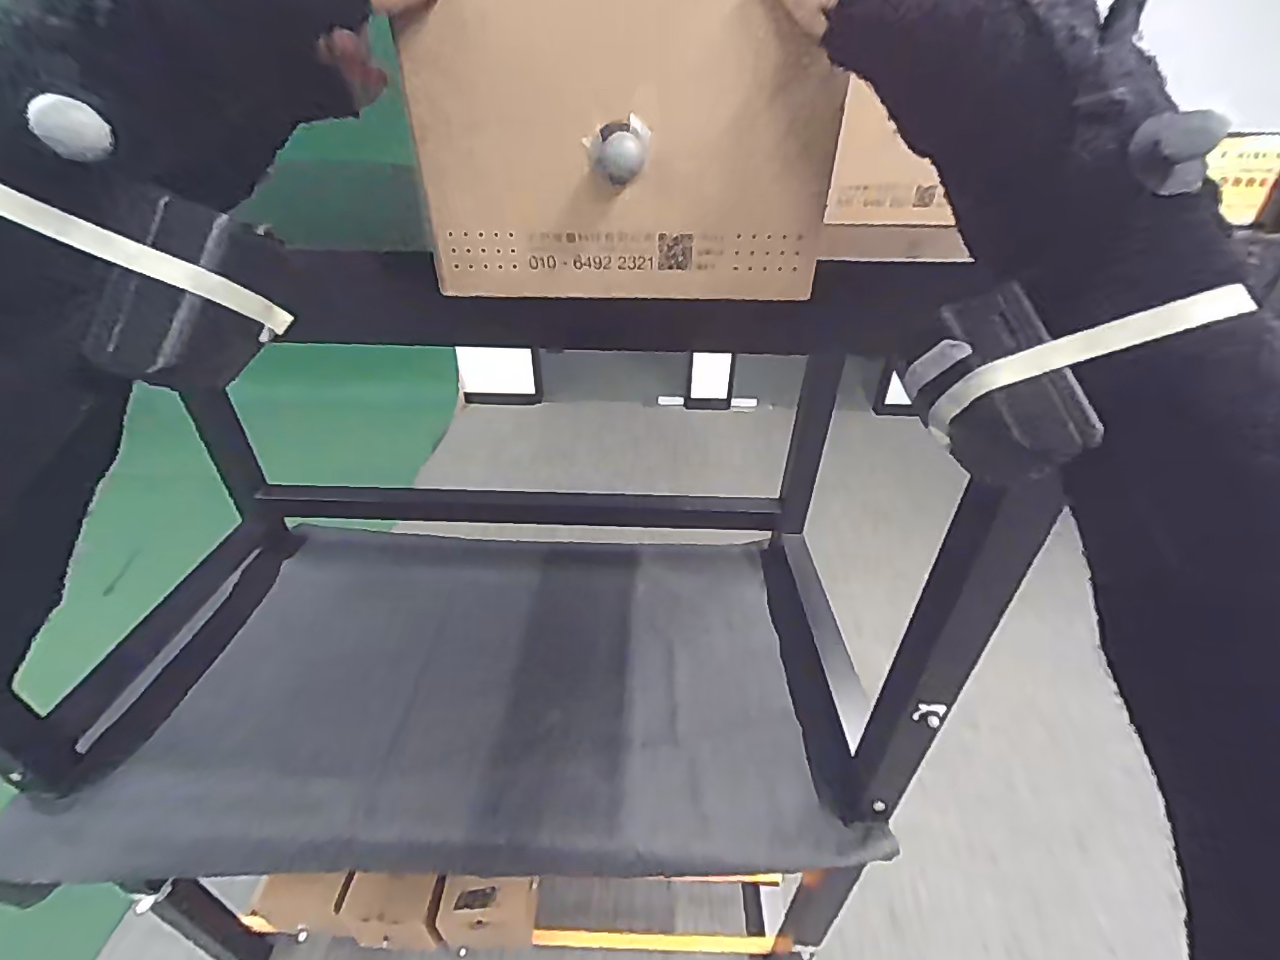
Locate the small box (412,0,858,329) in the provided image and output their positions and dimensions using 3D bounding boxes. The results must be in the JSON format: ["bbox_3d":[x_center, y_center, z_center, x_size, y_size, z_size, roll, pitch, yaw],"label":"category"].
[{"bbox_3d":[-0.003,-0.188,0.277,0.168,0.176,0.179,0,35,1],"label":"small box"}]
